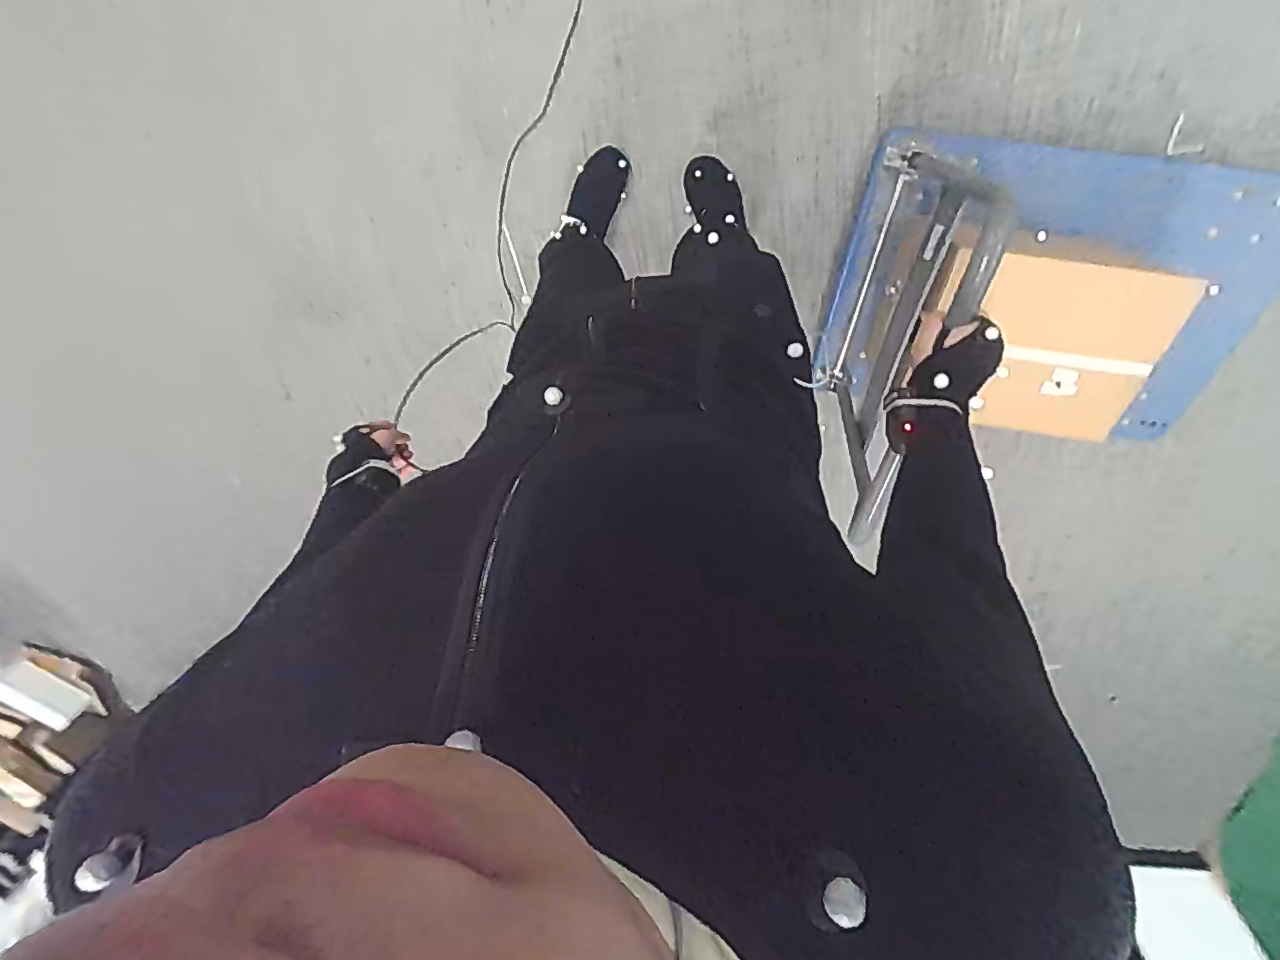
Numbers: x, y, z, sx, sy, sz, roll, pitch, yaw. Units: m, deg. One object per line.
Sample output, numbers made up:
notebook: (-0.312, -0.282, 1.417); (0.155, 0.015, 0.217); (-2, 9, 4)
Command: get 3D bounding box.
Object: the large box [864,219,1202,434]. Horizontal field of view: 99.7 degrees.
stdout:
large box: (0.729, -0.324, 1.100); (0.408, 0.320, 0.320); (9, 126, 3)
